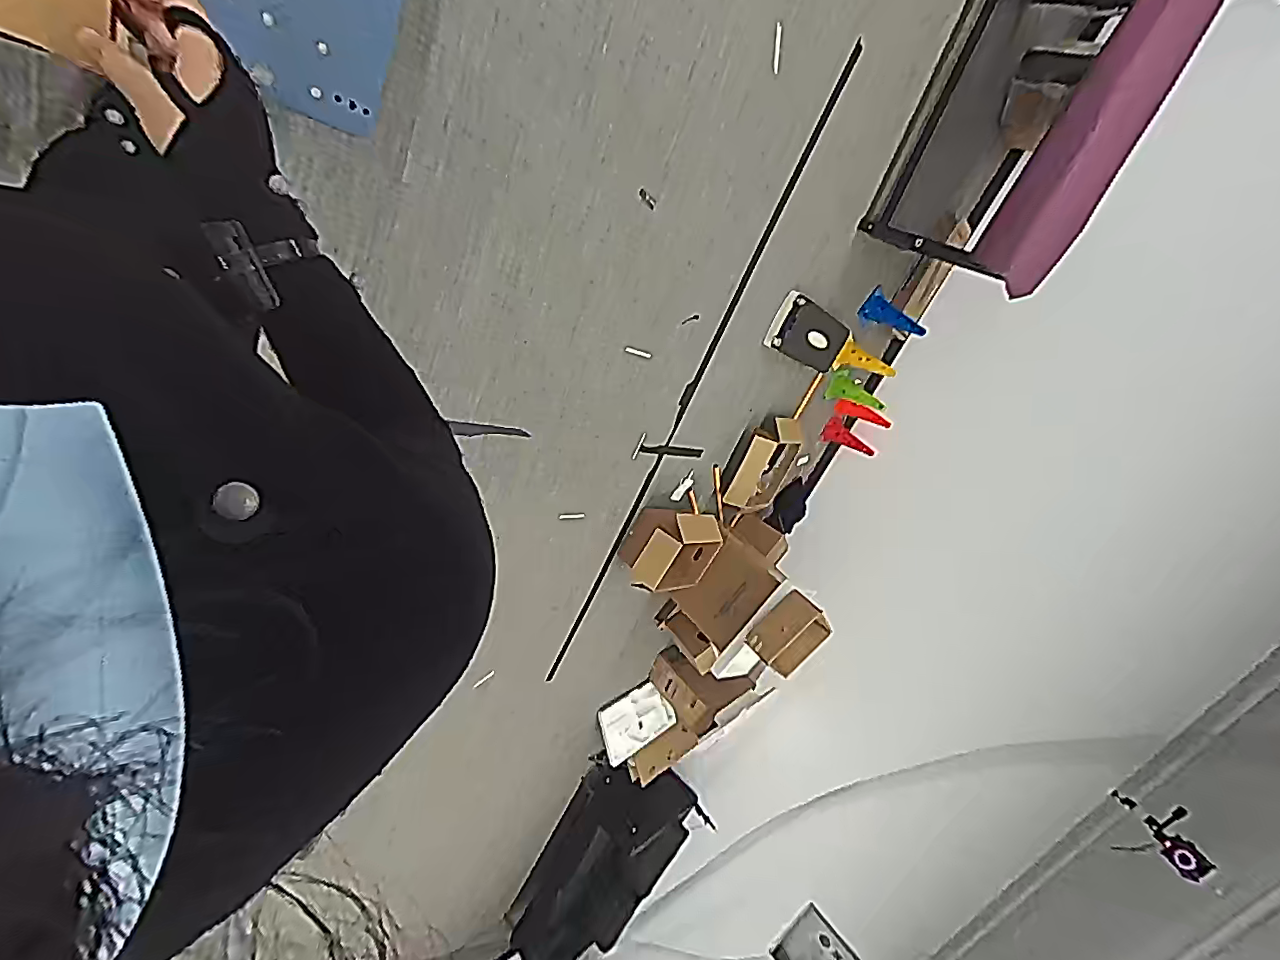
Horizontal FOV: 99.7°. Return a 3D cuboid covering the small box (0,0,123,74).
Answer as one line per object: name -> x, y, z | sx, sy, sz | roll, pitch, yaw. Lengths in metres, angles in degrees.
small box -> -0.423, -0.386, 0.322 | 0.168, 0.176, 0.179 | 1, 121, -42
